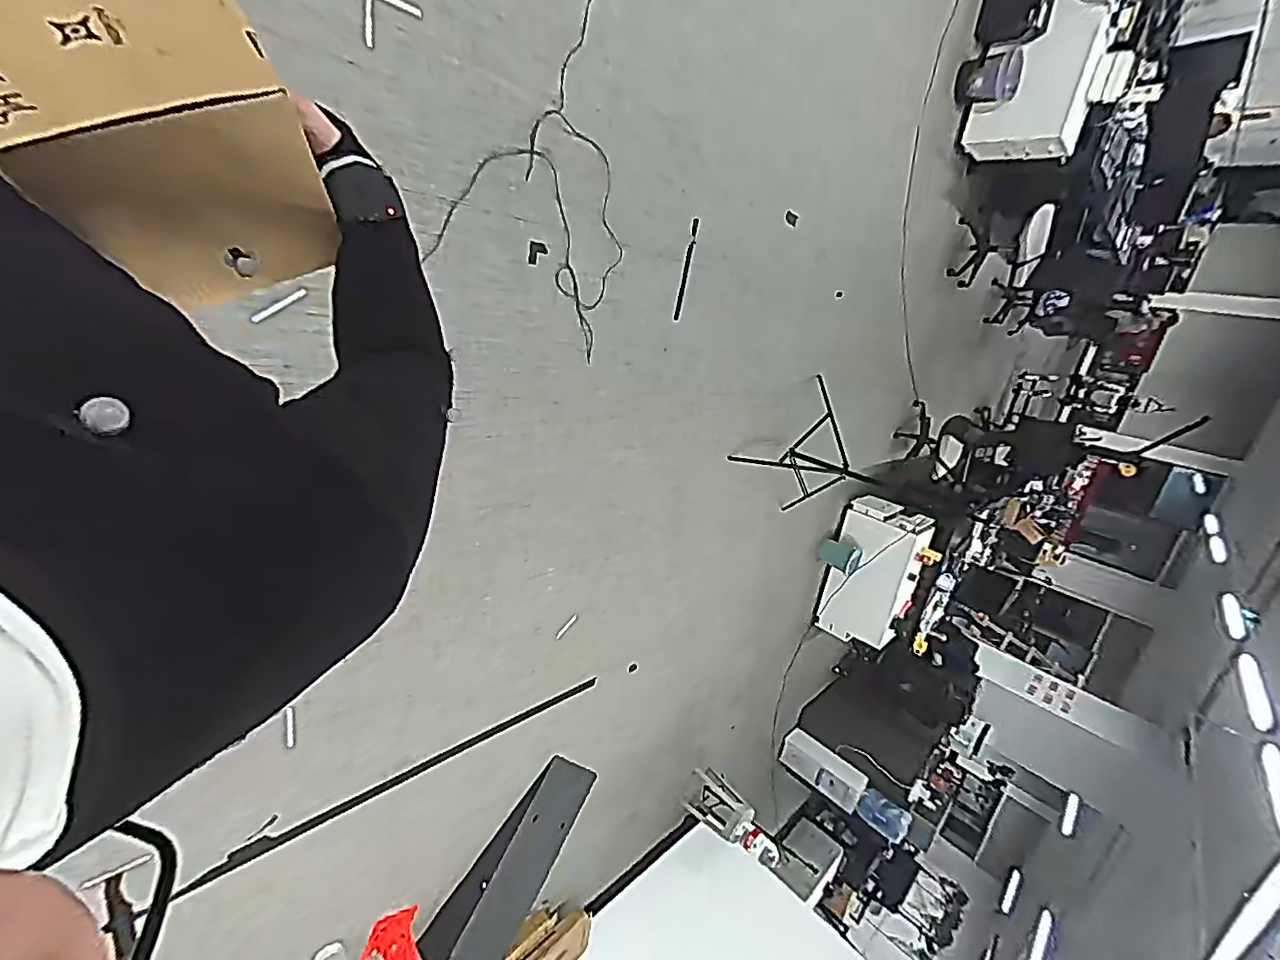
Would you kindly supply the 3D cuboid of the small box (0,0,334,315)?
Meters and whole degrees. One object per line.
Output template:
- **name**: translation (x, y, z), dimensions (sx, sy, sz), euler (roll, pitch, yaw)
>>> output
- **small box**: translation (-0.385, -0.273, 0.449), dimensions (0.179, 0.168, 0.176), euler (-31, 169, -22)
